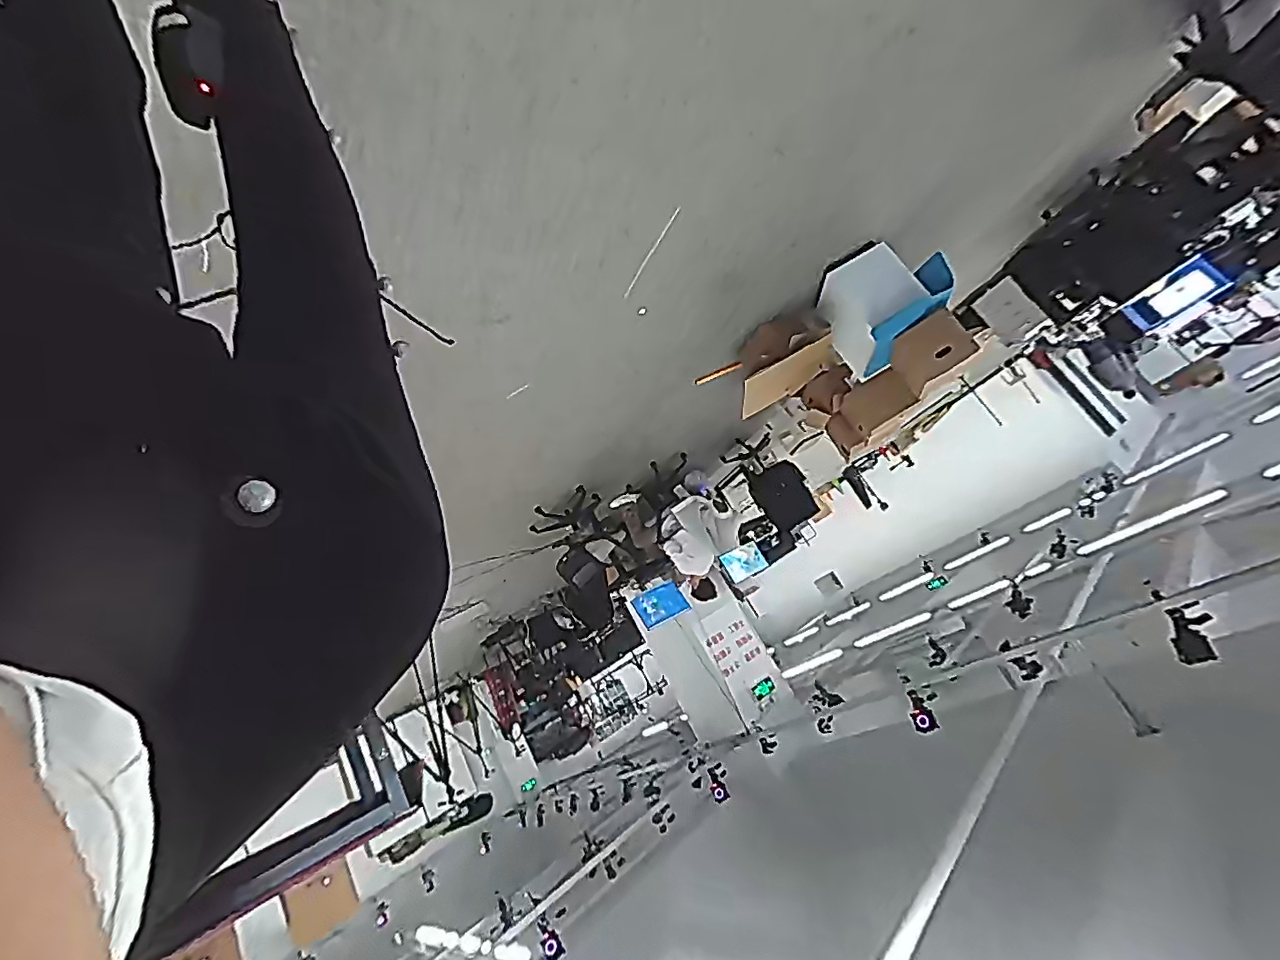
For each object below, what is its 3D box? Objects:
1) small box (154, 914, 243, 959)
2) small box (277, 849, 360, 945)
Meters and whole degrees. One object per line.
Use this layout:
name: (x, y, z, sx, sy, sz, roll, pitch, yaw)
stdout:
small box: (-1.173, 1.302, 1.445, 0.168, 0.176, 0.179, -15, 158, -43)
small box: (-0.974, 1.250, 1.631, 0.168, 0.176, 0.179, -14, 158, -45)
